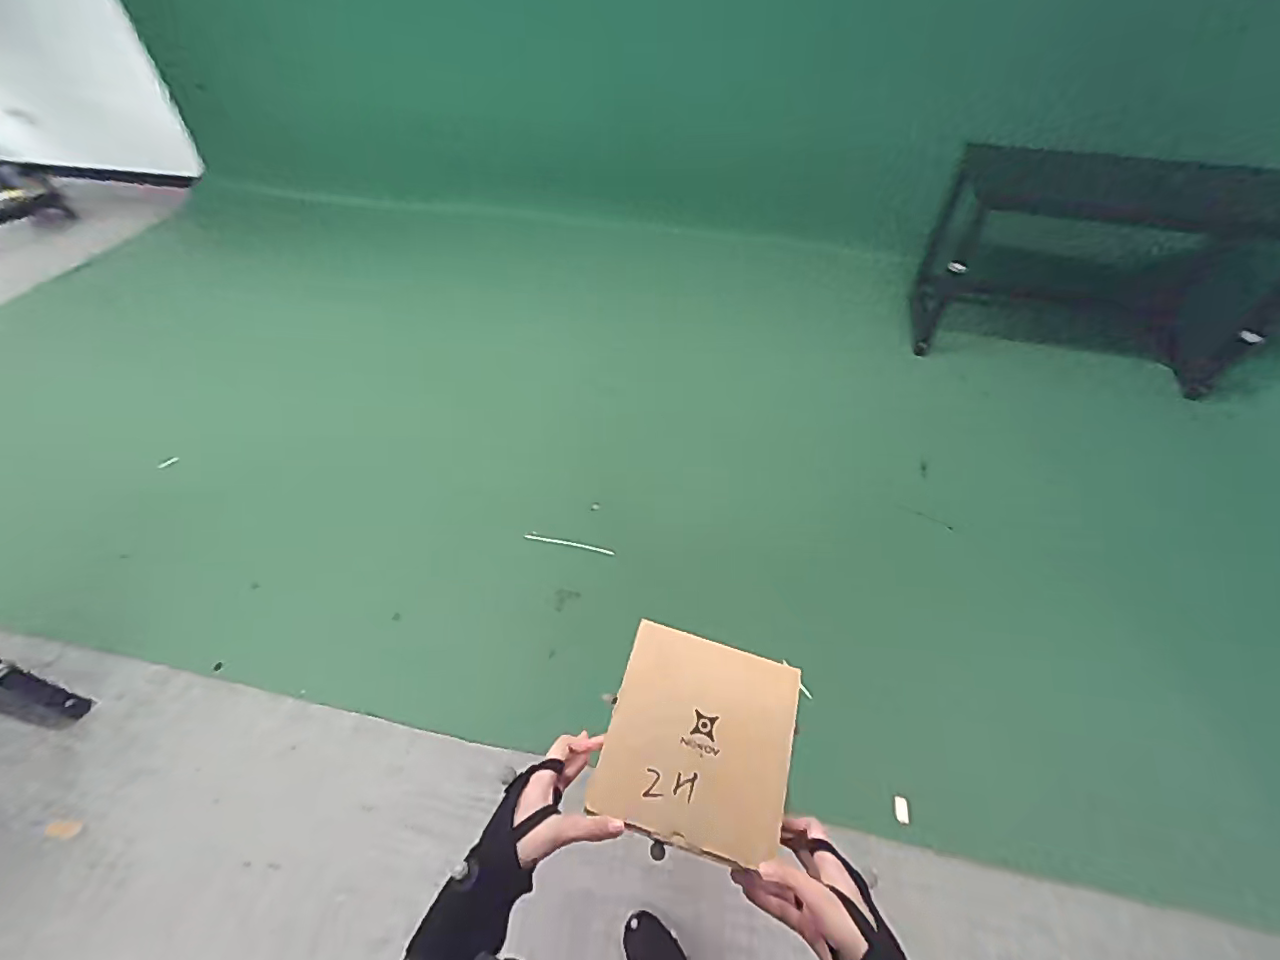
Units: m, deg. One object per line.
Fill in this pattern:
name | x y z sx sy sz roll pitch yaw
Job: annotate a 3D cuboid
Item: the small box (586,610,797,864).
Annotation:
small box | 0.048 0.265 0.558 0.168 0.176 0.179 16 57 6
